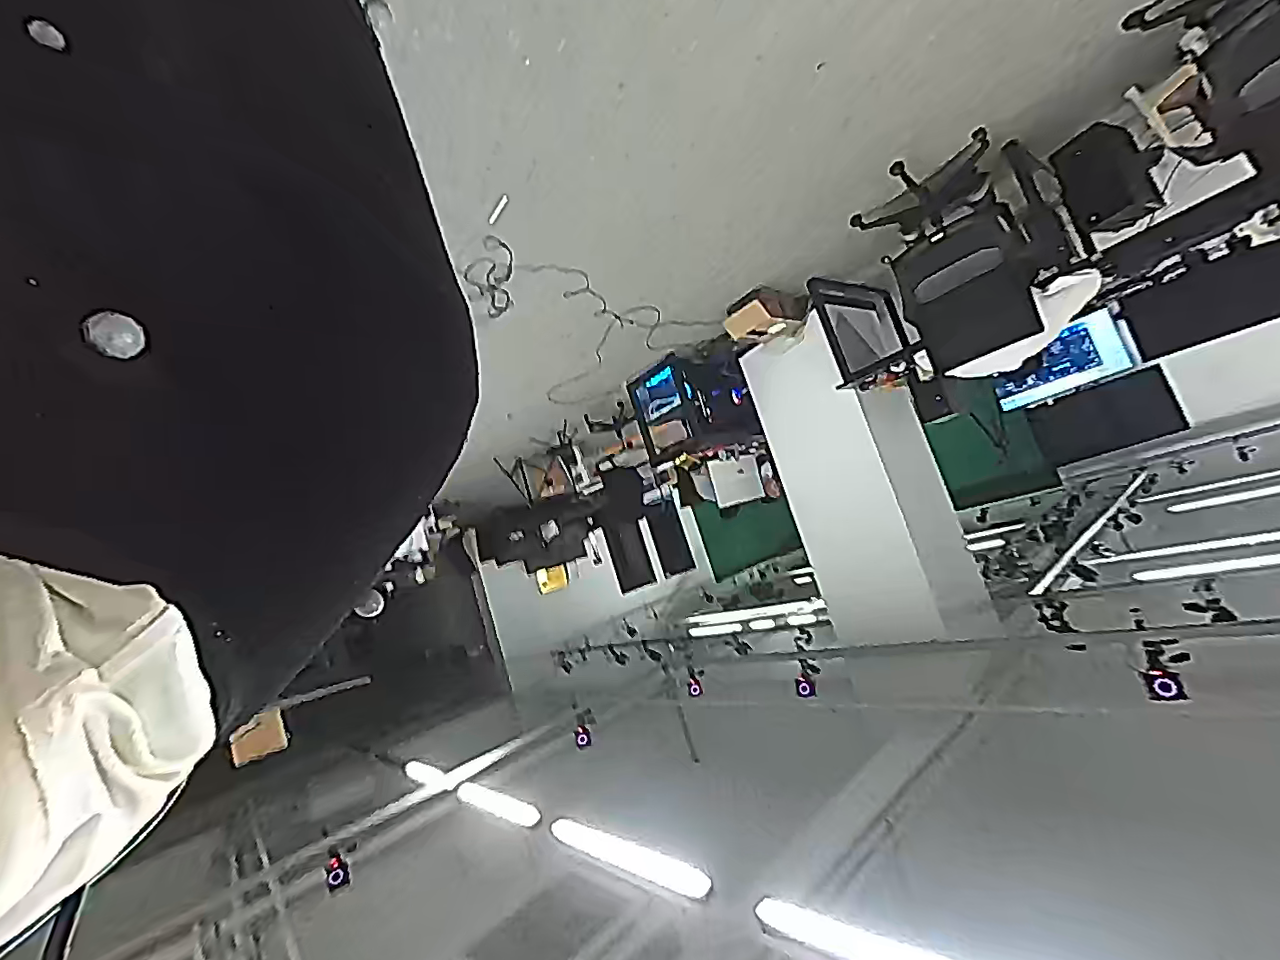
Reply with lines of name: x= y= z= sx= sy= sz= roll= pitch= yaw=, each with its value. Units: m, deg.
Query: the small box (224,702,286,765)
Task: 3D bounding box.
small box: x=-1.502 y=0.981 z=2.106 sx=0.168 sy=0.176 sz=0.179 roll=-12 pitch=170 yaw=-40
